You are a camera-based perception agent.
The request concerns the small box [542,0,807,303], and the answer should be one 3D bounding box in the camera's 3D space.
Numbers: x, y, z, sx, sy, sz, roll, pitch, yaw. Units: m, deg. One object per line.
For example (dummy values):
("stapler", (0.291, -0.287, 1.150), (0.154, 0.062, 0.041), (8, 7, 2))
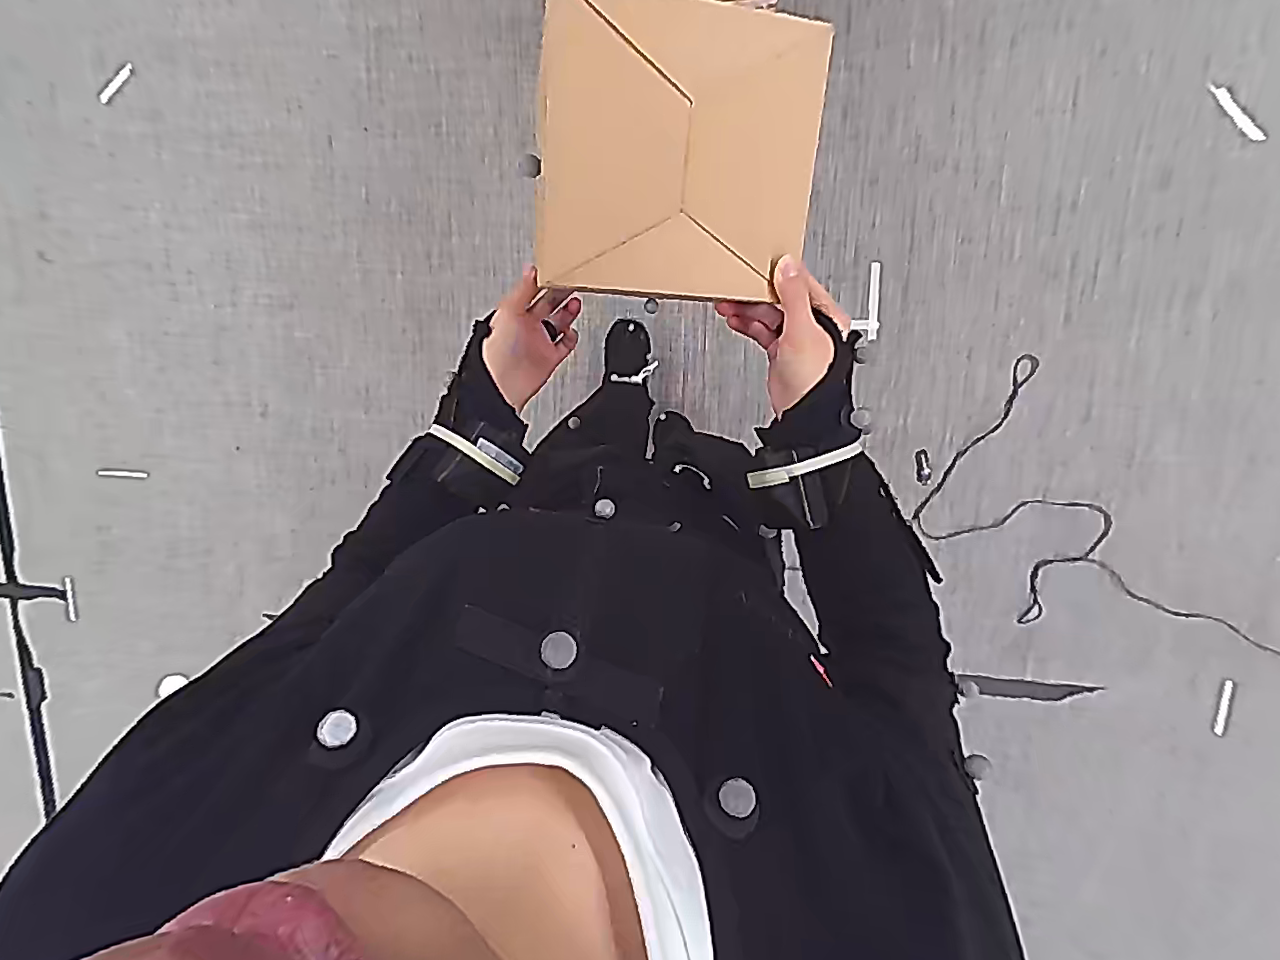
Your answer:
("small box", (0.014, -0.231, 0.426), (0.179, 0.176, 0.168), (0, 107, -13))
